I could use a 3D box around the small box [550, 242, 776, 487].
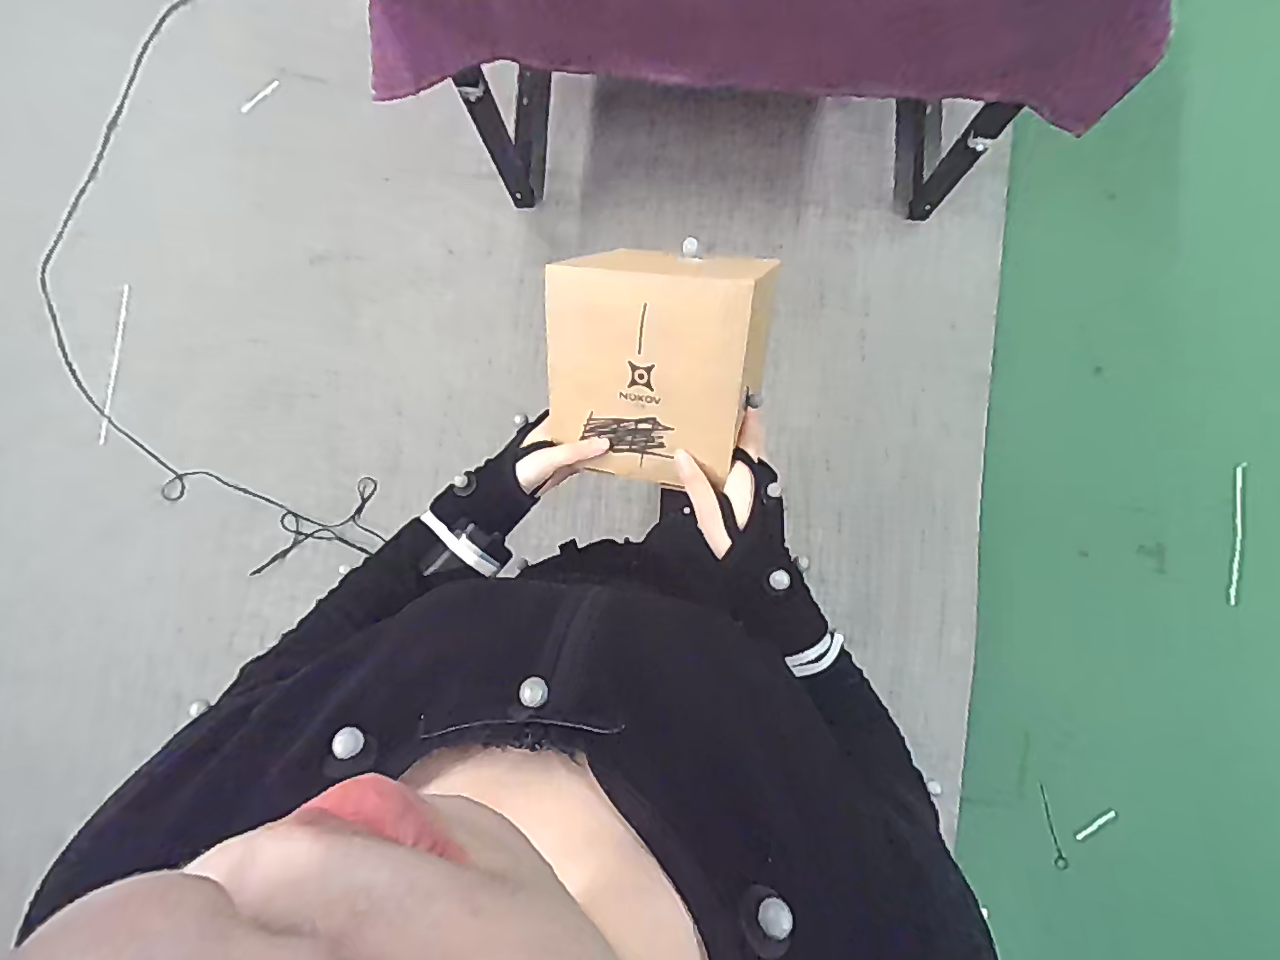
[{"bbox_3d":[0.028,-0.119,0.510,0.168,0.176,0.179,11,119,15],"label":"small box"}]
